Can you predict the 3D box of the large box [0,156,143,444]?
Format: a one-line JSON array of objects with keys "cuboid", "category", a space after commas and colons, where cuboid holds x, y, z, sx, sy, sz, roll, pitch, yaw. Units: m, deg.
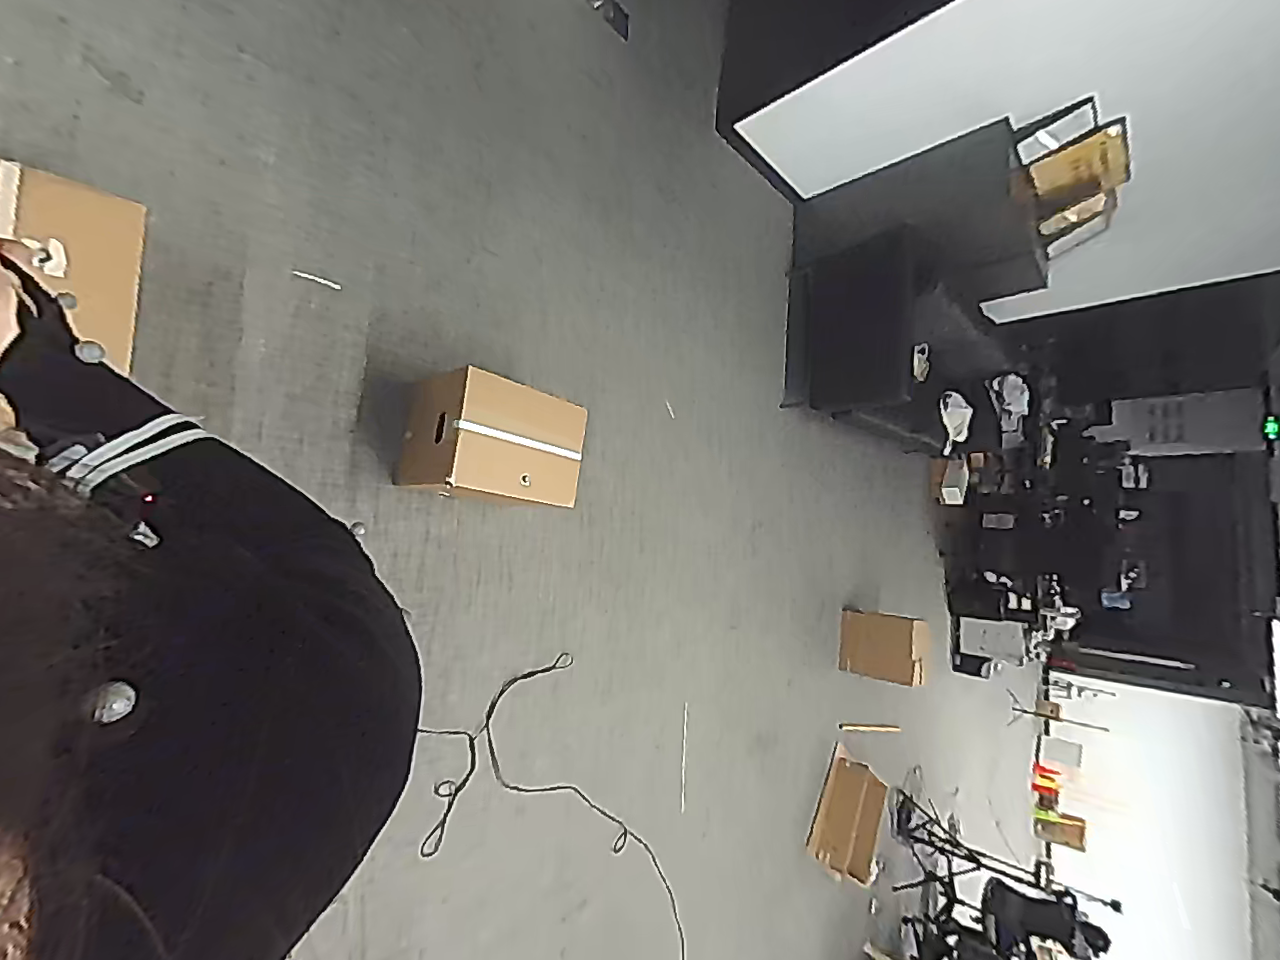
[{"cuboid": [-1.074, -0.285, 0.914, 0.320, 0.320, 0.408, 7, 83, -46], "category": "large box"}]
